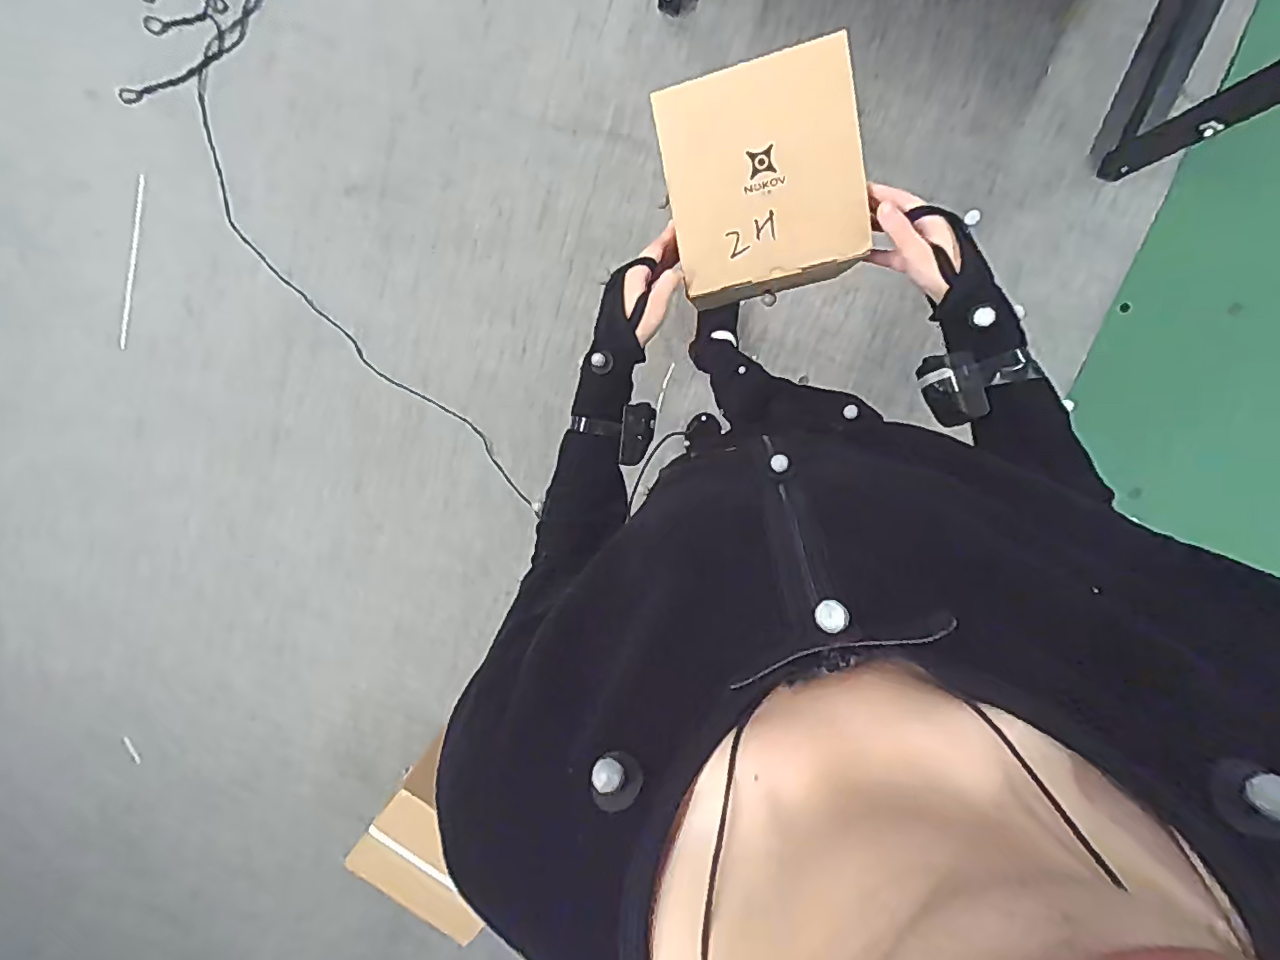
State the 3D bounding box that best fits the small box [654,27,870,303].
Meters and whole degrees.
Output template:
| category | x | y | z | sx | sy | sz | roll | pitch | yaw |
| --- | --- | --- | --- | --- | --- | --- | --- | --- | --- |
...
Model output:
| category | x | y | z | sx | sy | sz | roll | pitch | yaw |
| --- | --- | --- | --- | --- | --- | --- | --- | --- | --- |
| small box | 0.117 | -0.288 | 0.542 | 0.168 | 0.176 | 0.179 | -9 | 102 | 11 |
